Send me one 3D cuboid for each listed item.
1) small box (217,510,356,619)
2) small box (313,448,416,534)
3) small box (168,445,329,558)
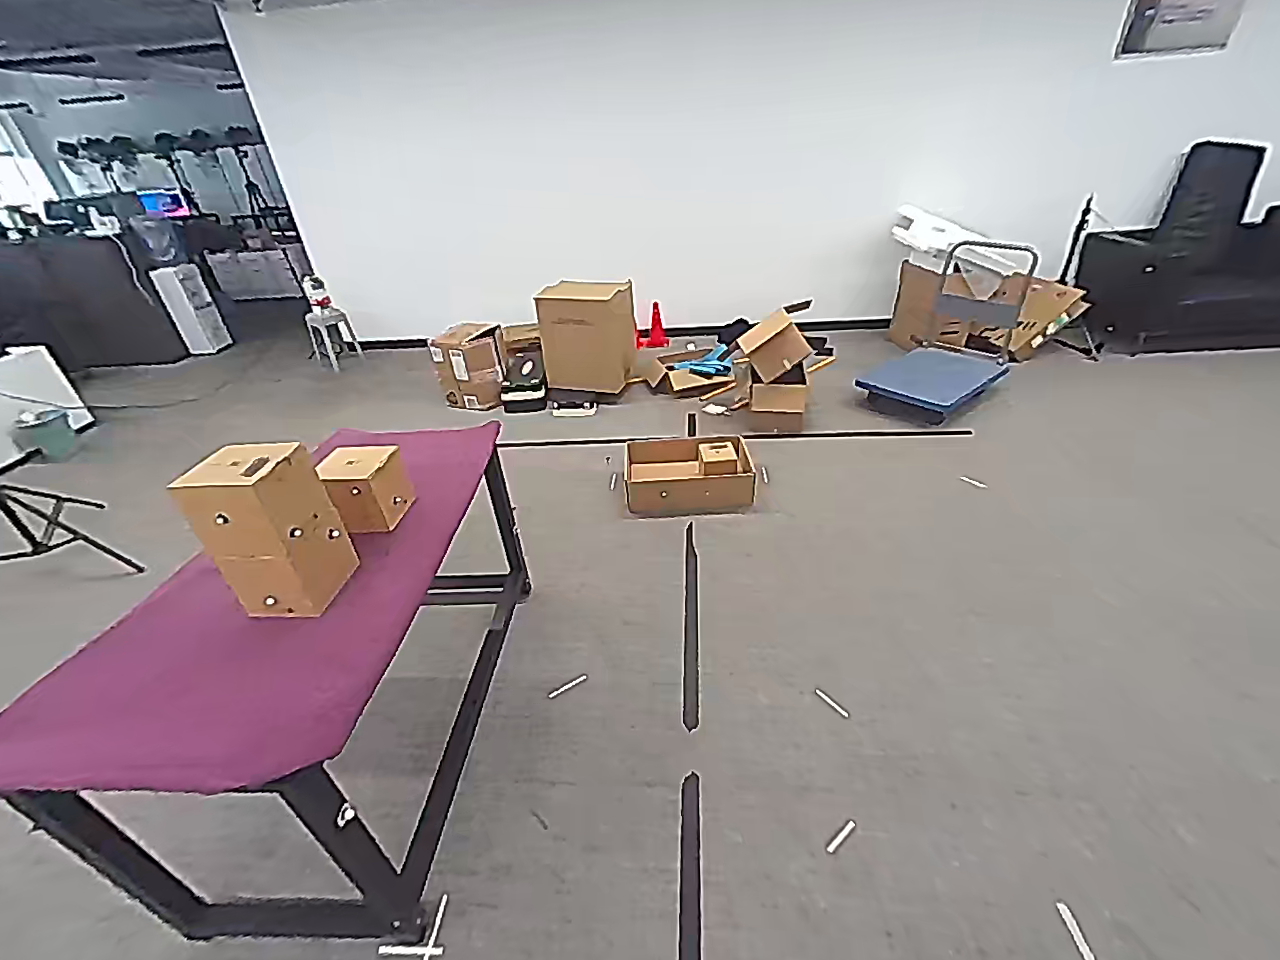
[{"bbox_3d":[-0.758,0.182,1.188,0.168,0.176,0.179,-2,33,6],"label":"small box"},{"bbox_3d":[-0.726,0.031,1.423,0.179,0.176,0.168,-2,33,6],"label":"small box"},{"bbox_3d":[-0.778,0.044,1.101,0.179,0.176,0.168,-3,32,5],"label":"small box"}]
